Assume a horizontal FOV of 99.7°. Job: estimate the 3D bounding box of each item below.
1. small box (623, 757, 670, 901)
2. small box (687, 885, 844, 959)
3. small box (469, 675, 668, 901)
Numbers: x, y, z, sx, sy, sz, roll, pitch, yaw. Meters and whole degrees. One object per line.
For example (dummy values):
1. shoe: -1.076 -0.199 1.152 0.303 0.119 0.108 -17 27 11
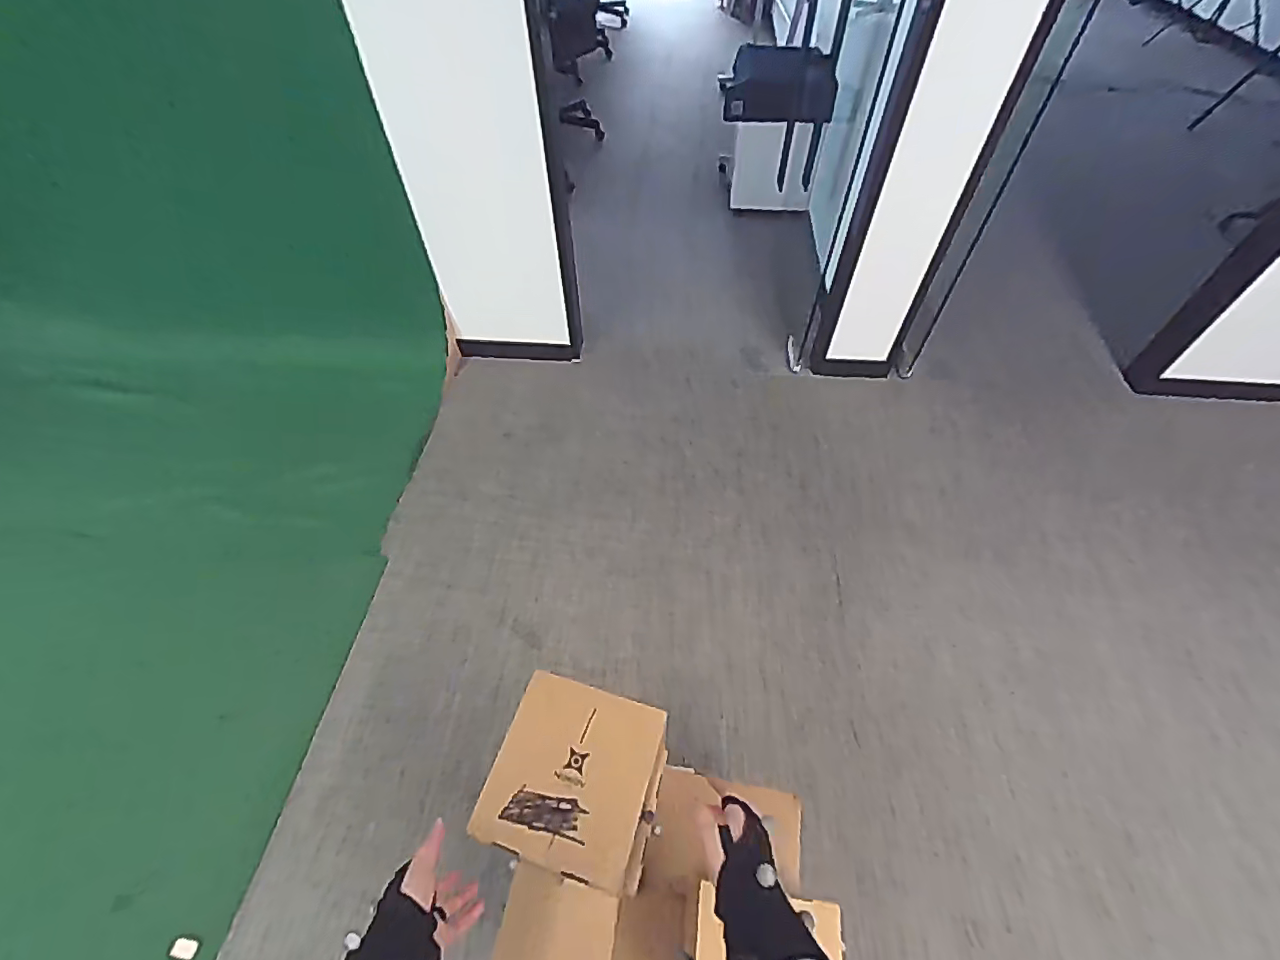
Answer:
1. small box: -0.065 0.470 0.763 0.179 0.176 0.168 13 53 10
2. small box: 0.143 0.610 0.649 0.168 0.176 0.179 6 52 5
3. small box: -0.069 0.364 0.636 0.168 0.176 0.179 14 51 11
